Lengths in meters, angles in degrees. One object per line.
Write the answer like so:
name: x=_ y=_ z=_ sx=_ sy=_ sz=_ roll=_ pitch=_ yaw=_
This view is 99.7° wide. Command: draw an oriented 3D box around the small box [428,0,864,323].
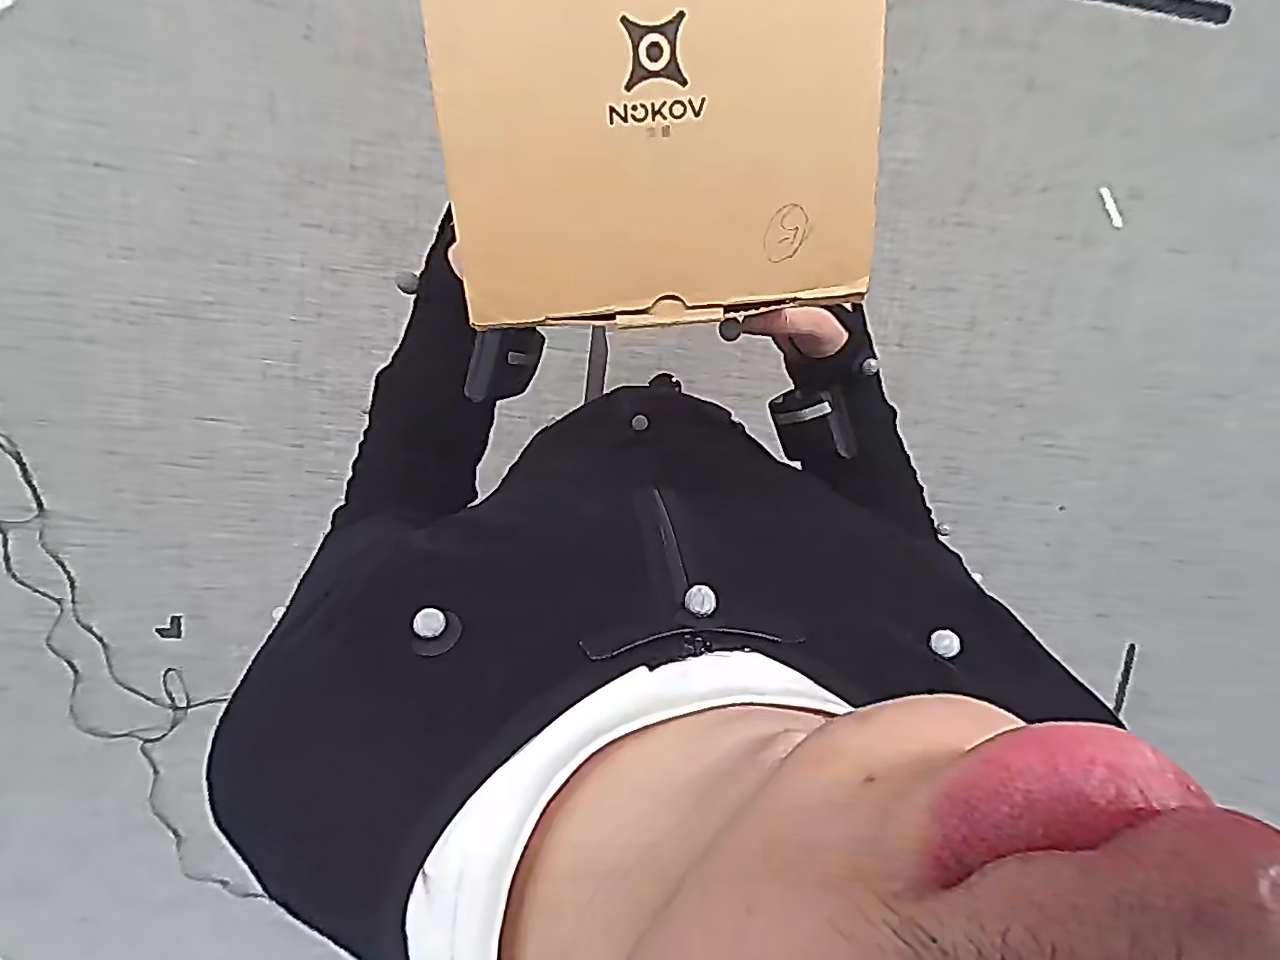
small box: x=0.004 y=-0.180 z=0.285 sx=0.168 sy=0.176 sz=0.179 roll=-4 pitch=106 yaw=1
